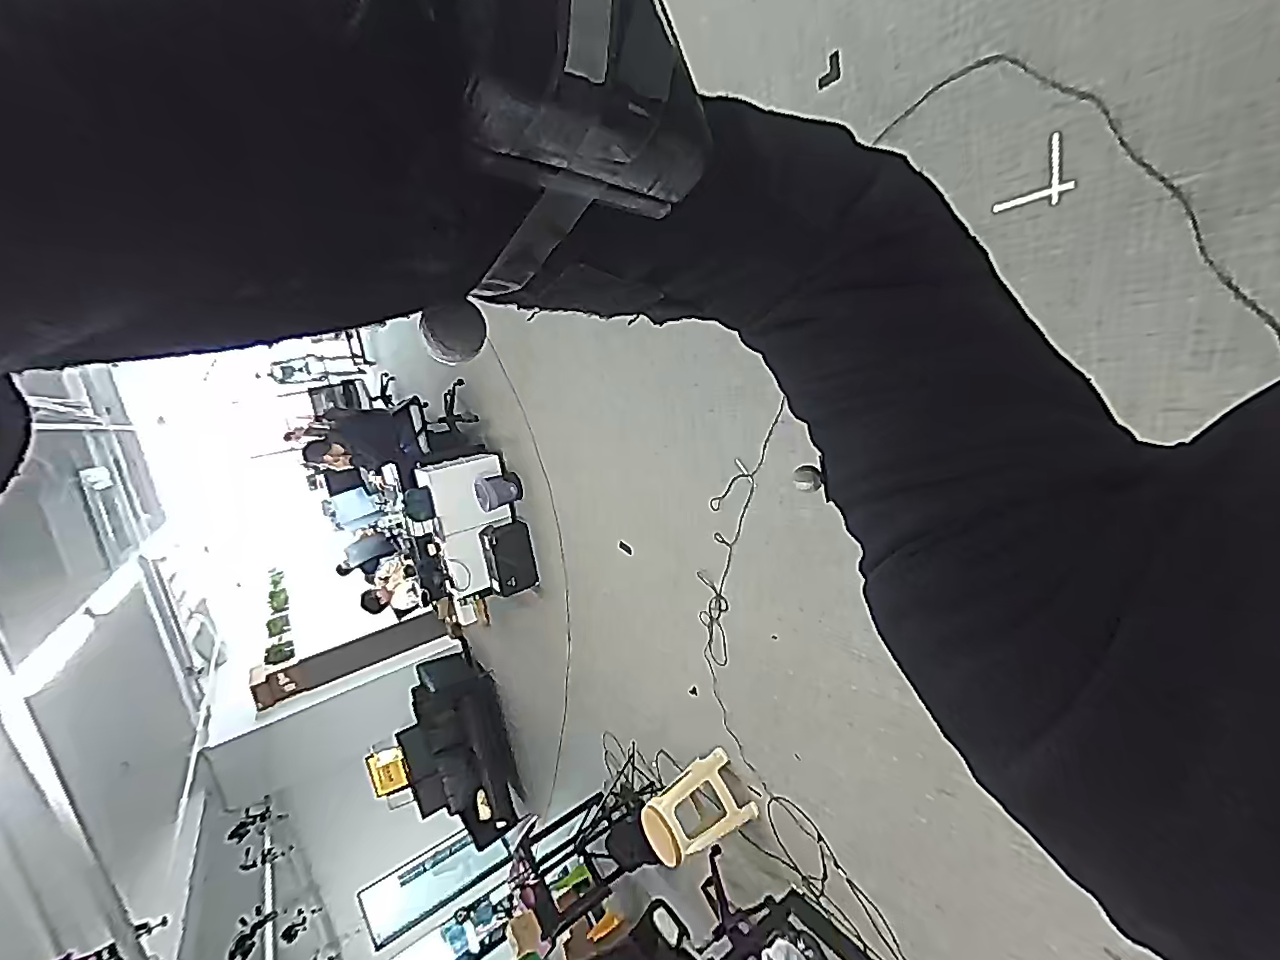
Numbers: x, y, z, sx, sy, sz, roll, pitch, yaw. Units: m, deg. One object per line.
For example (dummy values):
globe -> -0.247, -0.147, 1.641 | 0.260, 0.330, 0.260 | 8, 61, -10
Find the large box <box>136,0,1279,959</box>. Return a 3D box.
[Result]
large box -> 0.123, 0.060, 0.152 | 0.408, 0.320, 0.320 | 14, -114, 53
